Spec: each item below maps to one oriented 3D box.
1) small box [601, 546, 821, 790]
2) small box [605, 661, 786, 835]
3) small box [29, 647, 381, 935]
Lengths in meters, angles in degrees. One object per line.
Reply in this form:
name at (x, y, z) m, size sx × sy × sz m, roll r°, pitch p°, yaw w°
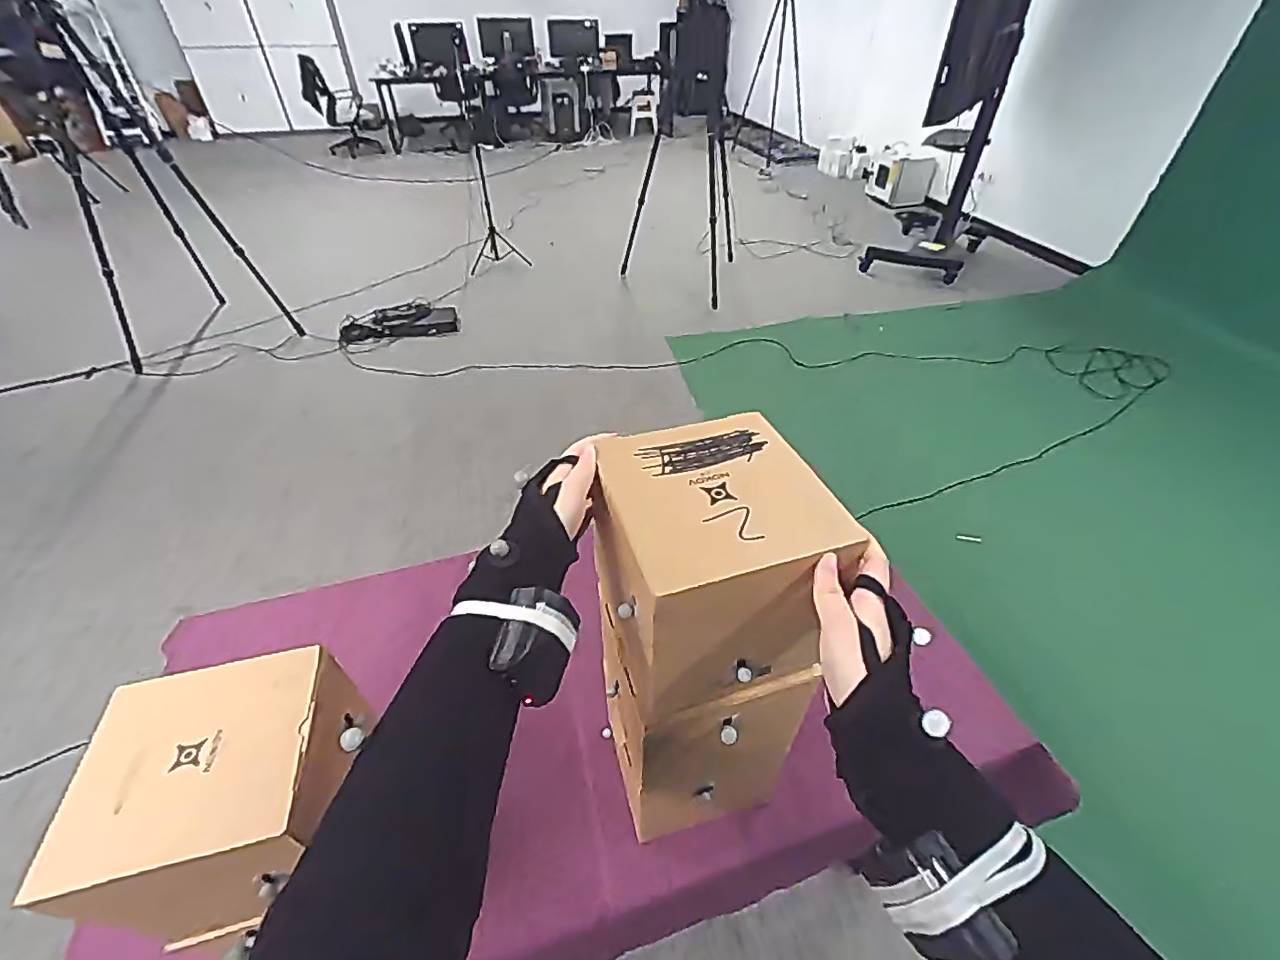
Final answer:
small box at (0.063, 0.202, 0.584) m, size 0.179 × 0.176 × 0.168 m, roll -13°, pitch 44°, yaw -11°
small box at (0.062, 0.322, 0.694) m, size 0.179 × 0.176 × 0.168 m, roll -11°, pitch 44°, yaw -11°
small box at (-0.360, 0.285, 0.501) m, size 0.179 × 0.176 × 0.168 m, roll -10°, pitch 43°, yaw -10°
